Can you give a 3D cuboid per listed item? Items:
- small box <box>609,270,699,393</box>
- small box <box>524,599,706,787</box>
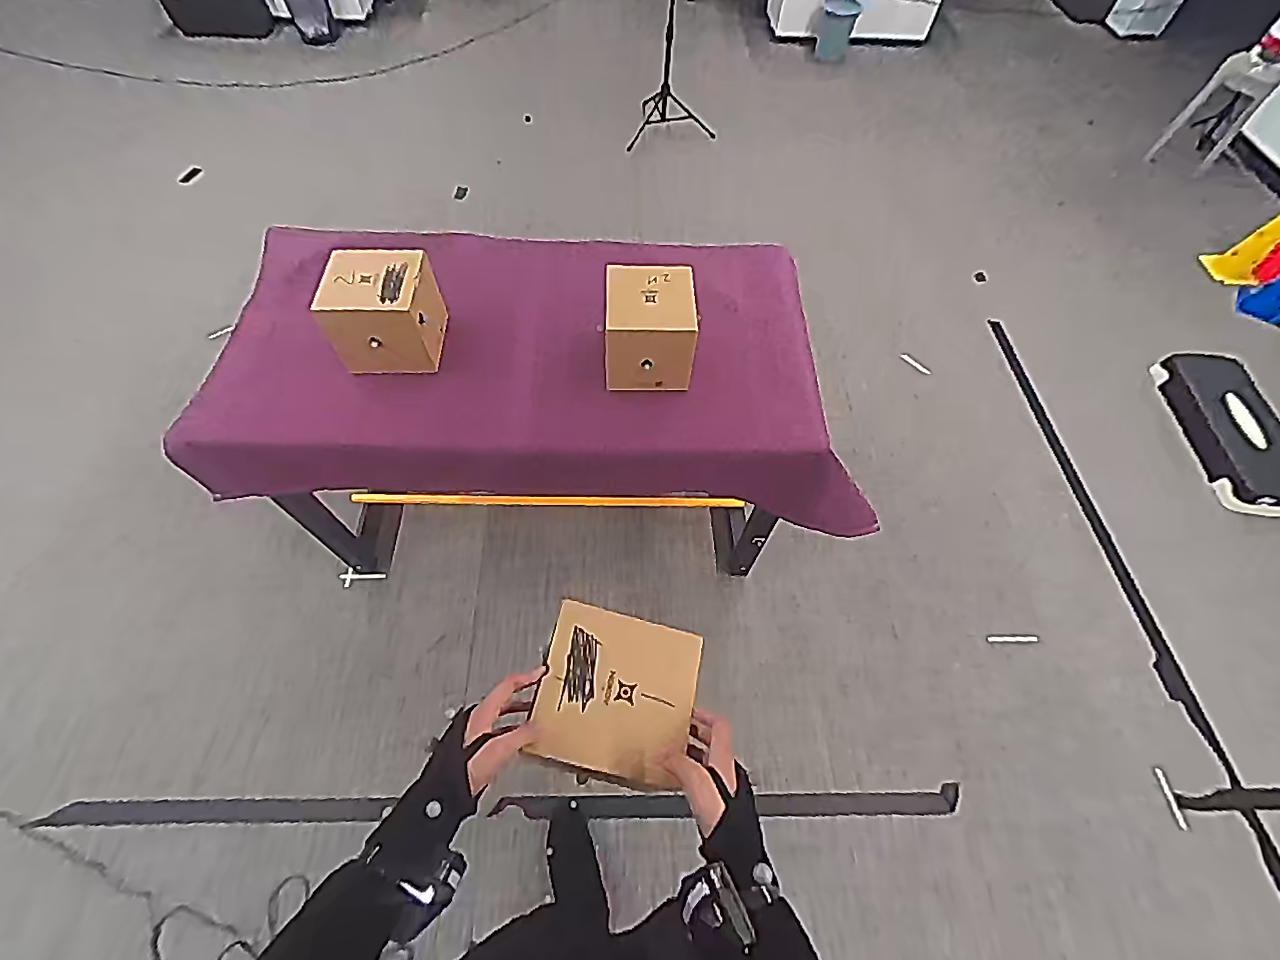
[{"bbox_3d":[0.024,-0.288,1.070,0.168,0.176,0.179,1,59,-2],"label":"small box"},{"bbox_3d":[-0.037,0.270,0.666,0.179,0.176,0.168,17,58,-4],"label":"small box"}]
